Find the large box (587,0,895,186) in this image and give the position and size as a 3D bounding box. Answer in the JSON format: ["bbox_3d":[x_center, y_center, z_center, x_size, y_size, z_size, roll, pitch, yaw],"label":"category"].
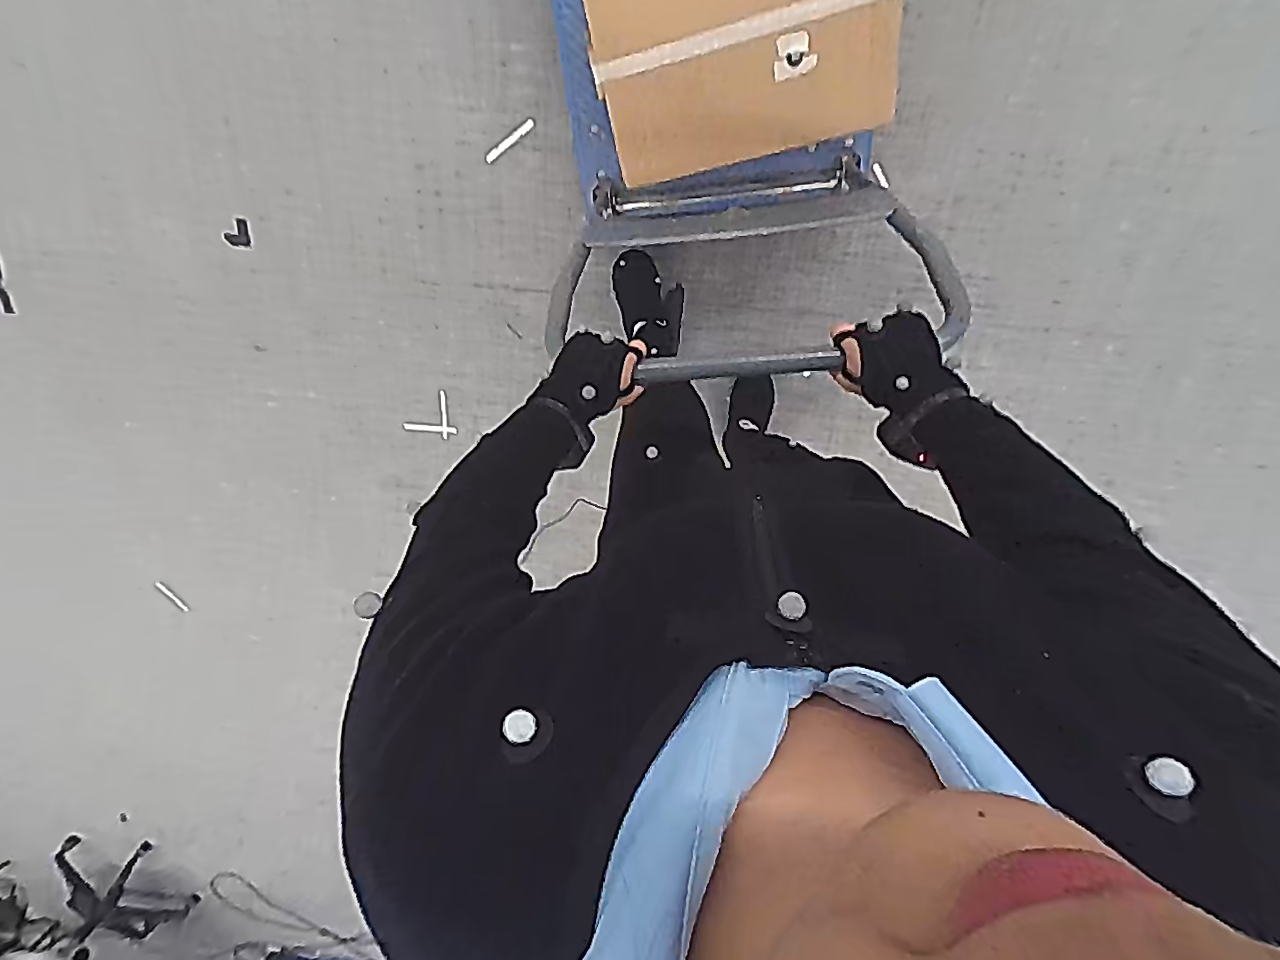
[{"bbox_3d":[0.149,-0.713,0.859,0.408,0.320,0.320,-9,128,11],"label":"large box"}]
